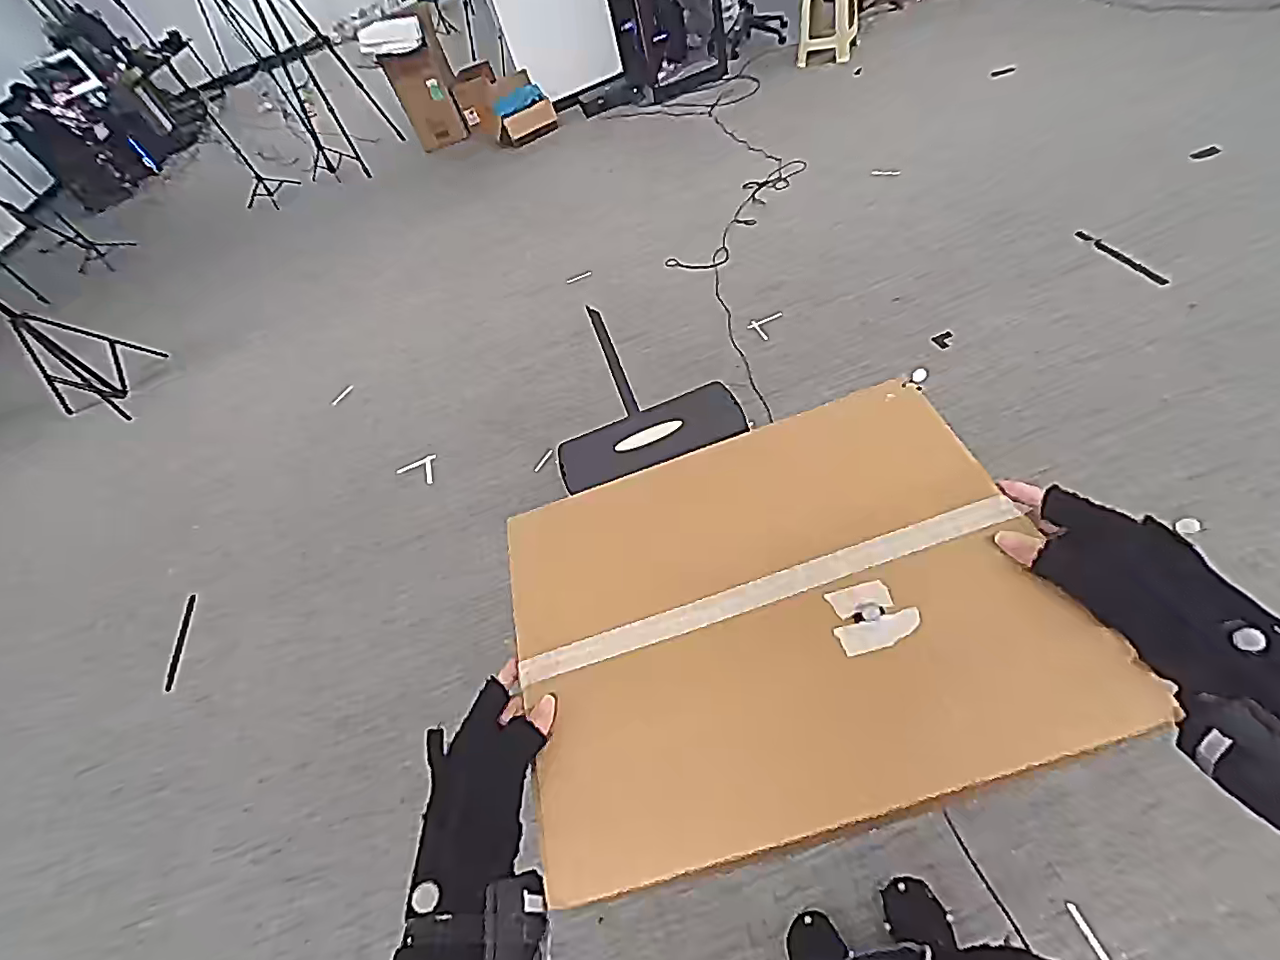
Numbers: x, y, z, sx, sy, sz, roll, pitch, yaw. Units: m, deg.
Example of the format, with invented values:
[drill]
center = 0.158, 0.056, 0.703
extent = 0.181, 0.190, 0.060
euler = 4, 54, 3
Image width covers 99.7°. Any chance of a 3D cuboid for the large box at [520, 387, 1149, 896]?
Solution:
[large box]
center = 0.137, 0.176, 0.555
extent = 0.408, 0.320, 0.320
euler = -20, 53, 3
